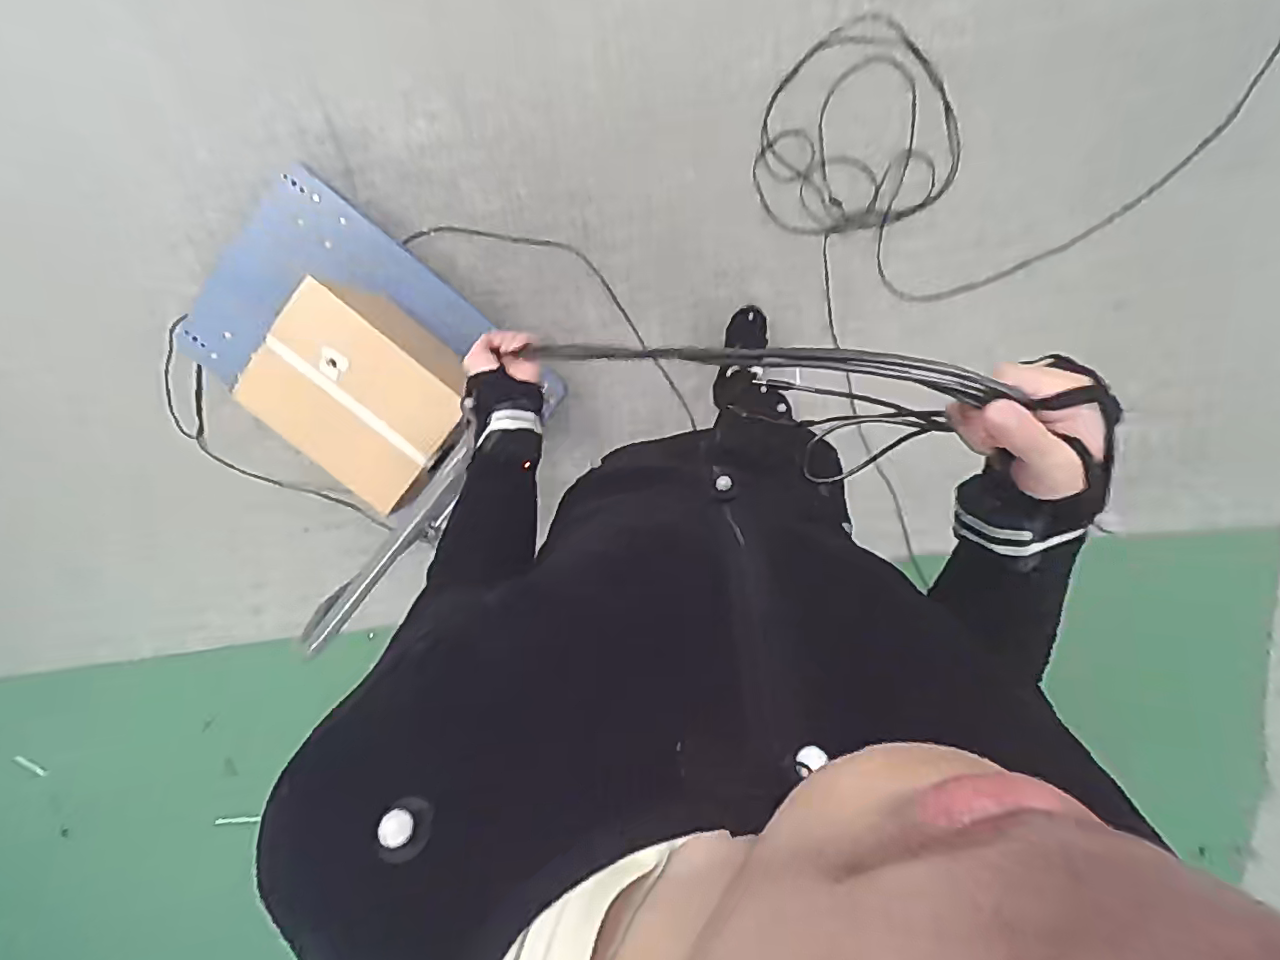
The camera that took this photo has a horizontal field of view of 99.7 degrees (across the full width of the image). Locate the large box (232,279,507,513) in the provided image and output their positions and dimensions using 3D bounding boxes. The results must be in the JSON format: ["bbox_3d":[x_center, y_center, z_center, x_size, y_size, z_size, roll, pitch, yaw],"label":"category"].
[{"bbox_3d":[-0.590,-0.189,1.252,0.408,0.320,0.320,40,99,-5],"label":"large box"}]
